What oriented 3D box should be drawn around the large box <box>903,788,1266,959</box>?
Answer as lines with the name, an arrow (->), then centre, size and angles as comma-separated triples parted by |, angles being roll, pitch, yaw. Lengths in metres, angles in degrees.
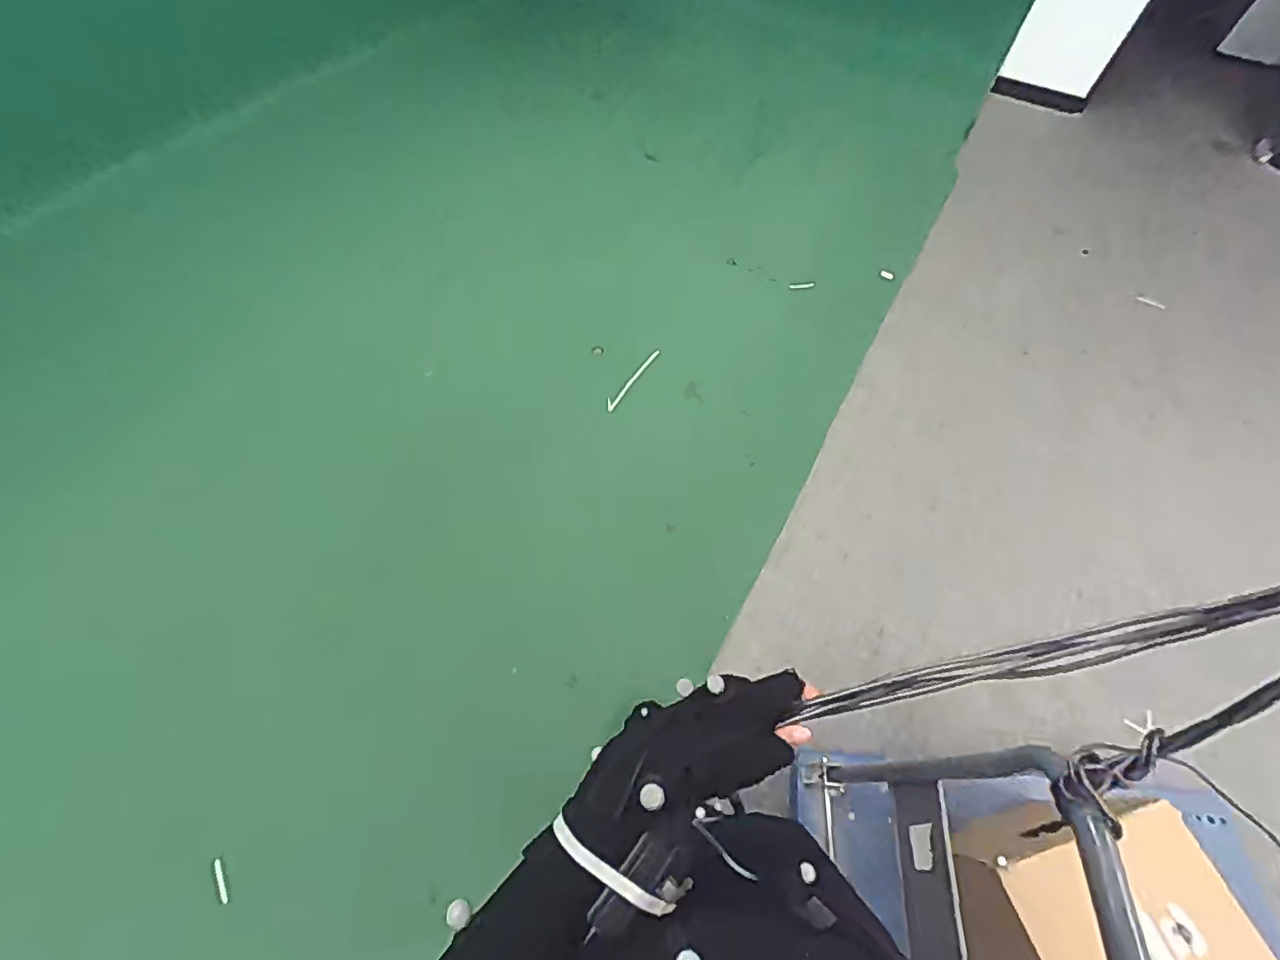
large box -> 0.708, 0.757, 0.854 | 0.320, 0.320, 0.408 | -13, 60, -9
